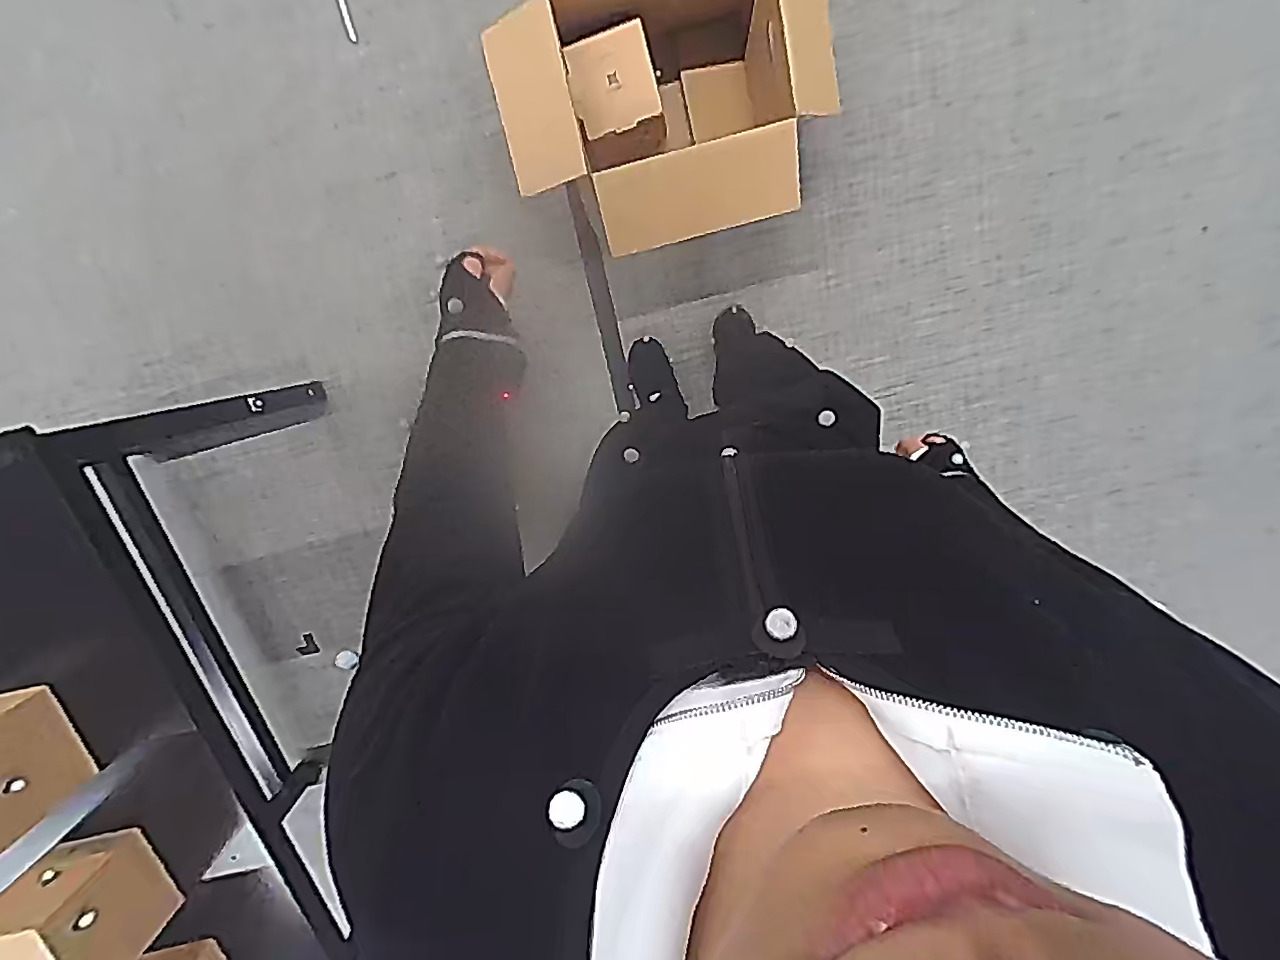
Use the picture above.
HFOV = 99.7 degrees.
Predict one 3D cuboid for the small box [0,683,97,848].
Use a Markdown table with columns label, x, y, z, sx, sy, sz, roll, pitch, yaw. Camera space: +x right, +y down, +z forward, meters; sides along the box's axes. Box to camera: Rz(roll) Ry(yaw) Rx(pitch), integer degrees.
| label | x | y | z | sx | sy | sz | roll | pitch | yaw |
| --- | --- | --- | --- | --- | --- | --- | --- | --- | --- |
| small box | -0.995 | 0.439 | 0.809 | 0.168 | 0.176 | 0.179 | -12 | 107 | 4 |

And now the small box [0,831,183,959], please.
| label | x | y | z | sx | sy | sz | roll | pitch | yaw |
| --- | --- | --- | --- | --- | --- | --- | --- | --- | --- |
| small box | -0.921 | 0.712 | 0.887 | 0.168 | 0.176 | 0.179 | -14 | 105 | 5 |

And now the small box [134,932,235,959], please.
| label | x | y | z | sx | sy | sz | roll | pitch | yaw |
| --- | --- | --- | --- | --- | --- | --- | --- | --- | --- |
| small box | -0.853 | 0.959 | 0.959 | 0.179 | 0.176 | 0.168 | -16 | 106 | 4 |
